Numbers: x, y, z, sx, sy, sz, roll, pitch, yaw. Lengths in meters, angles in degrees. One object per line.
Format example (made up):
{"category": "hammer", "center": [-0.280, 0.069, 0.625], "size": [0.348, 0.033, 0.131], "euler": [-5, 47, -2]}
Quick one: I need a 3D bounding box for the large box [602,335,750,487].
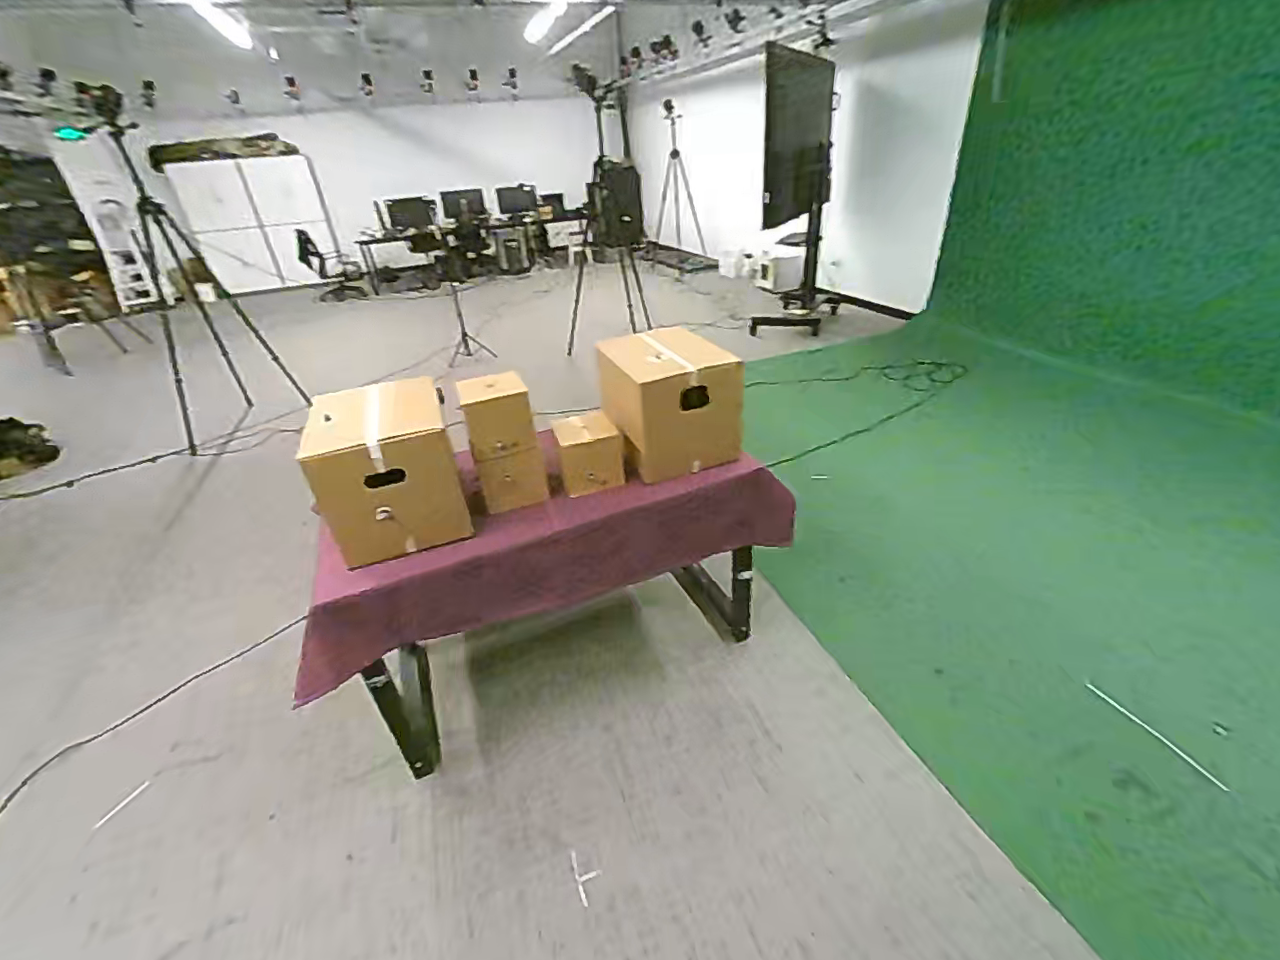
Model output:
{"category": "large box", "center": [0.098, -0.229, 1.676], "size": [0.320, 0.320, 0.408], "euler": [-15, 33, -16]}
